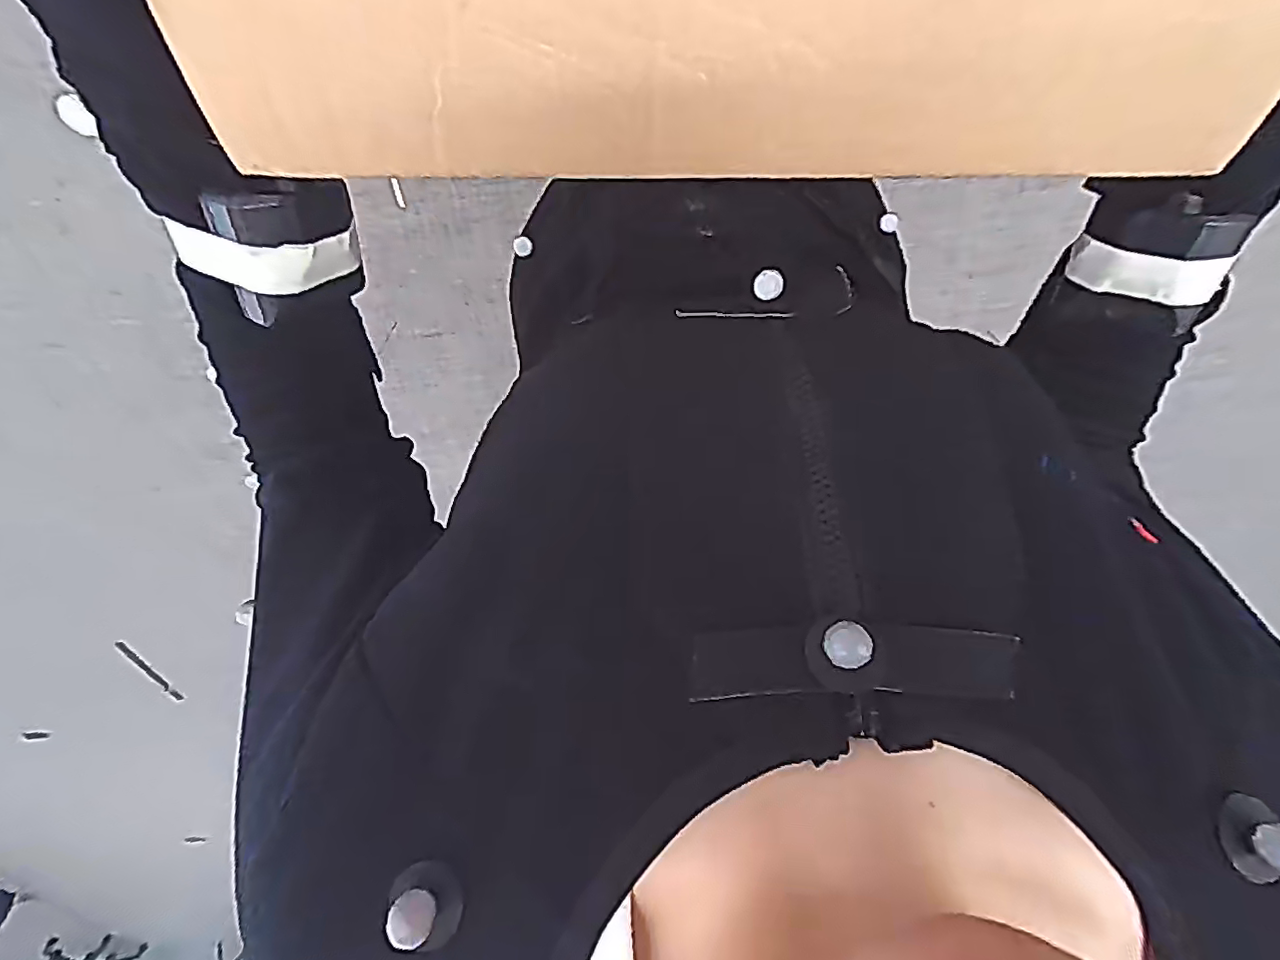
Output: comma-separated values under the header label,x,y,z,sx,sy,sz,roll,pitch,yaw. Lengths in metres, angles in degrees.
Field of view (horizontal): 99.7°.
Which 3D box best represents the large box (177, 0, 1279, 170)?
label,x,y,z,sx,sy,sz,roll,pitch,yaw
large box,0.035,-0.349,0.209,0.408,0.320,0.320,-1,139,-2
